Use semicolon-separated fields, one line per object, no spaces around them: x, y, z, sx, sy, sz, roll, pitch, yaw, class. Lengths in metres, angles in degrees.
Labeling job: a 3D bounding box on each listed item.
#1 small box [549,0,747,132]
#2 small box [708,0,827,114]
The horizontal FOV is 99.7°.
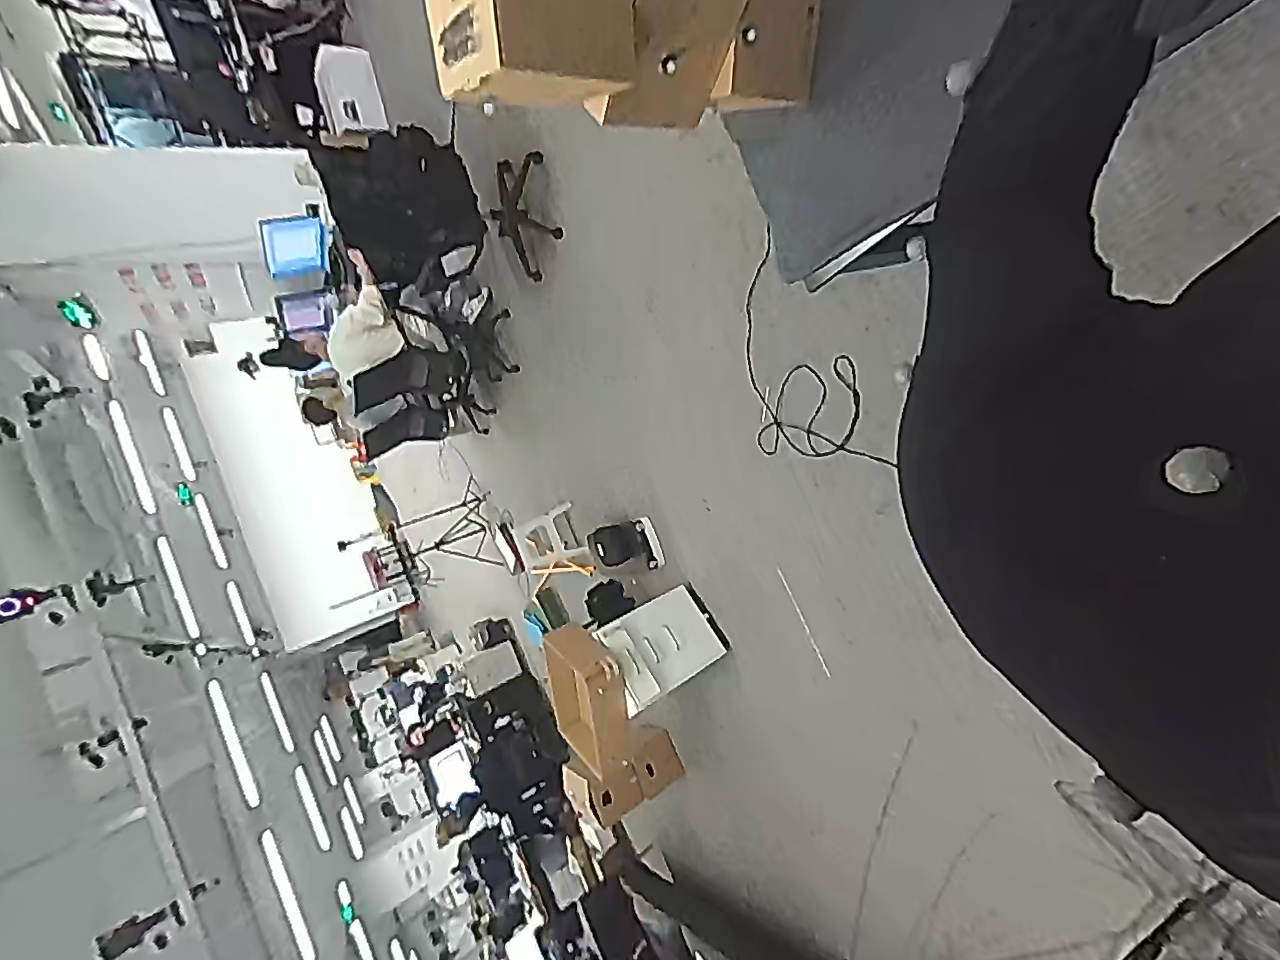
0.009;-0.580;0.691;0.168;0.176;0.179;56;147;19;small box
0.138;-0.634;0.778;0.179;0.176;0.168;33;134;43;small box
